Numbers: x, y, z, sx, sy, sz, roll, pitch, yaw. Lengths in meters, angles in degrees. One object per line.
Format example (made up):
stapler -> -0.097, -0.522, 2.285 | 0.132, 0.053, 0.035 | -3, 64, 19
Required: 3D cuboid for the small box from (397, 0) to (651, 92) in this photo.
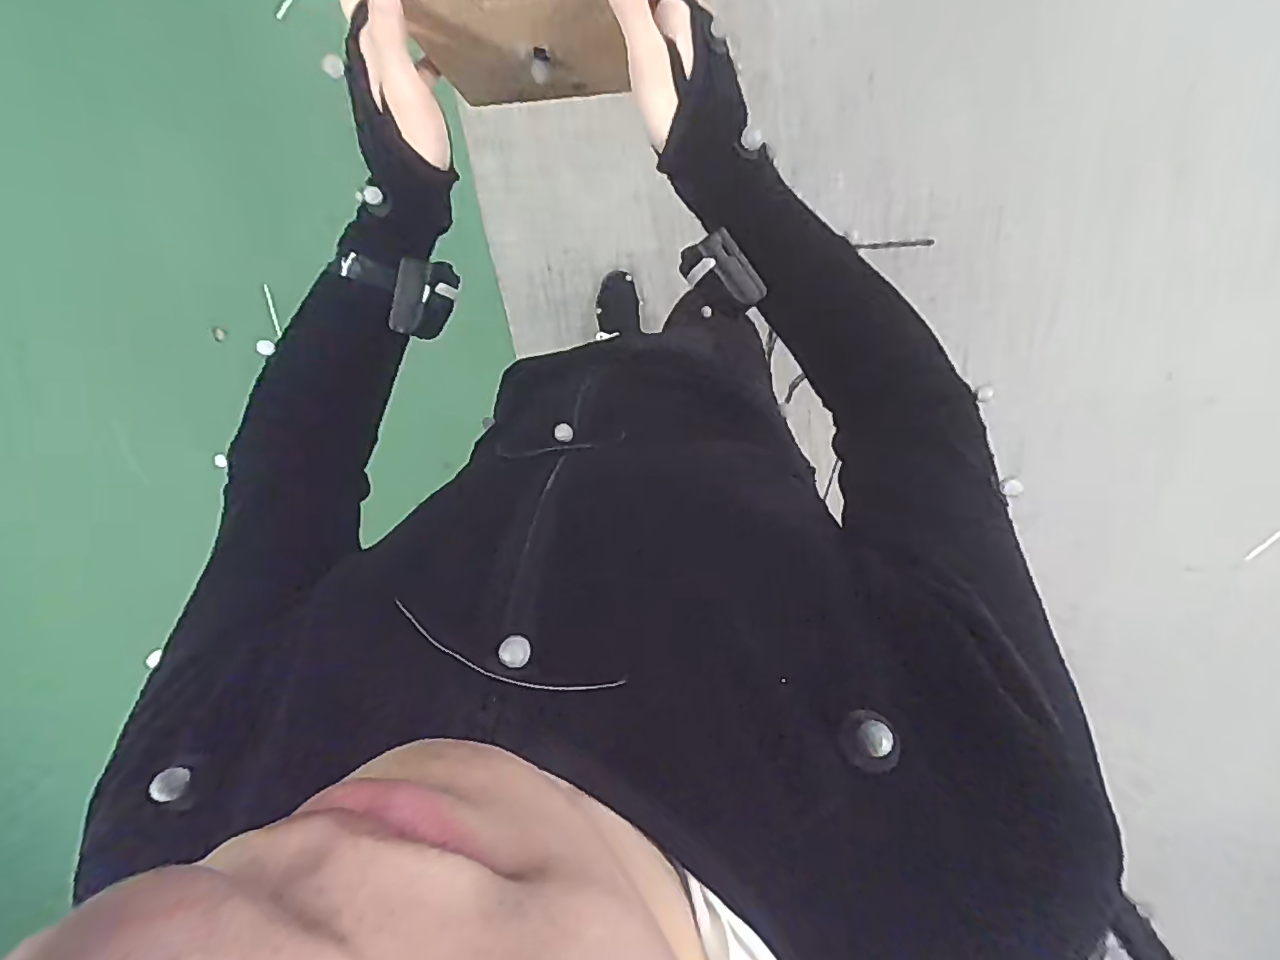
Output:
small box -> -0.079, -0.417, 0.399 | 0.168, 0.176, 0.179 | -3, 104, 3
